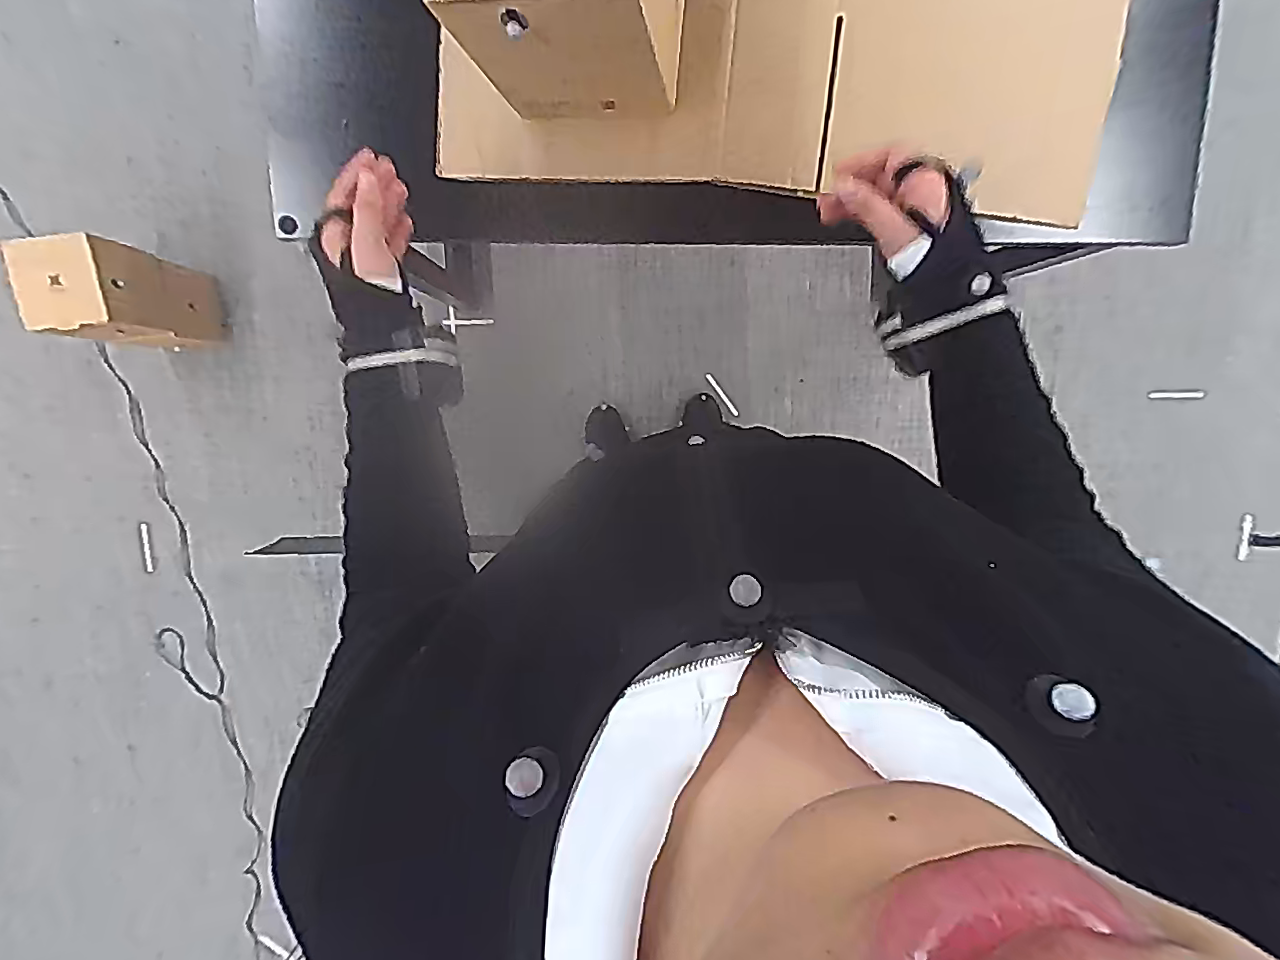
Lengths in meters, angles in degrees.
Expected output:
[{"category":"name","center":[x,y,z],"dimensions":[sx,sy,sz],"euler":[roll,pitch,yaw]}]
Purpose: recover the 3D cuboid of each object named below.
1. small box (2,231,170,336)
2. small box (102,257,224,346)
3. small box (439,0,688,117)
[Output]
[{"category":"small box","center":[-1.153,-0.404,1.144],"dimensions":[0.168,0.176,0.179],"euler":[-7,98,-2]},{"category":"small box","center":[-1.158,-0.424,1.306],"dimensions":[0.168,0.176,0.179],"euler":[-4,100,-1]},{"category":"small box","center":[-0.054,-0.439,0.447],"dimensions":[0.168,0.176,0.179],"euler":[7,99,12]}]
